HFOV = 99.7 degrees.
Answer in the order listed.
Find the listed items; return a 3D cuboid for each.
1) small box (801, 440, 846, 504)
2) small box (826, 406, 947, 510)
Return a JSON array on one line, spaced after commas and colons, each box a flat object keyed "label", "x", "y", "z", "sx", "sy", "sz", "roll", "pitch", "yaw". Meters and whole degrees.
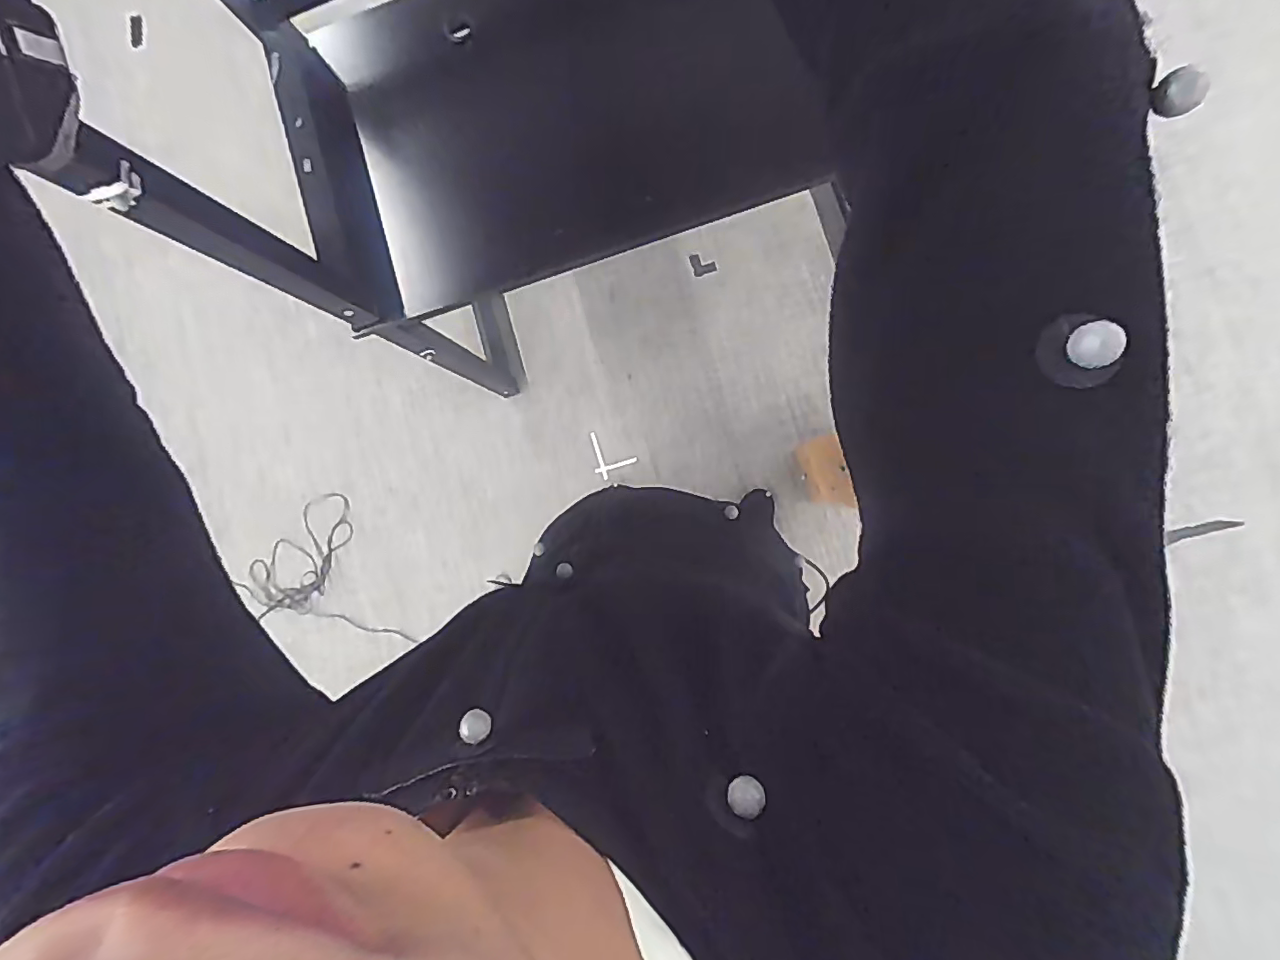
[{"label": "small box", "x": 0.564, "y": -0.038, "z": 1.497, "sx": 0.179, "sy": 0.176, "sz": 0.168, "roll": -18, "pitch": 86, "yaw": 8}, {"label": "small box", "x": 0.524, "y": -0.043, "z": 1.172, "sx": 0.168, "sy": 0.176, "sz": 0.179, "roll": -20, "pitch": 86, "yaw": 7}]
